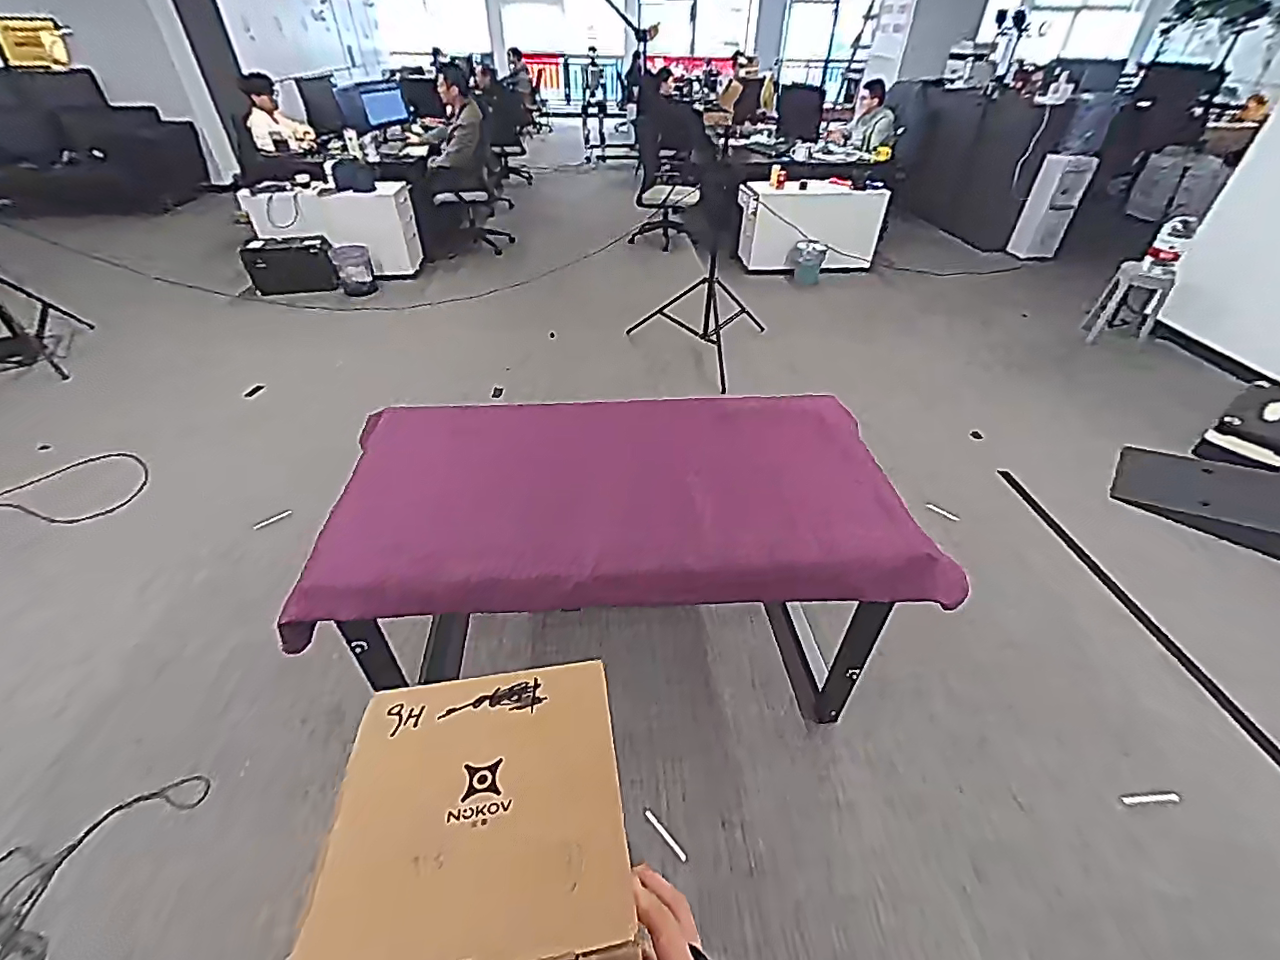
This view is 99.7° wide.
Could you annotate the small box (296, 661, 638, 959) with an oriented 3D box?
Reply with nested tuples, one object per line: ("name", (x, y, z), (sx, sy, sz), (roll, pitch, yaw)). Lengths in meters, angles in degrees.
("small box", (-0.092, 0.256, 0.363), (0.168, 0.176, 0.179), (-5, 31, -8))
